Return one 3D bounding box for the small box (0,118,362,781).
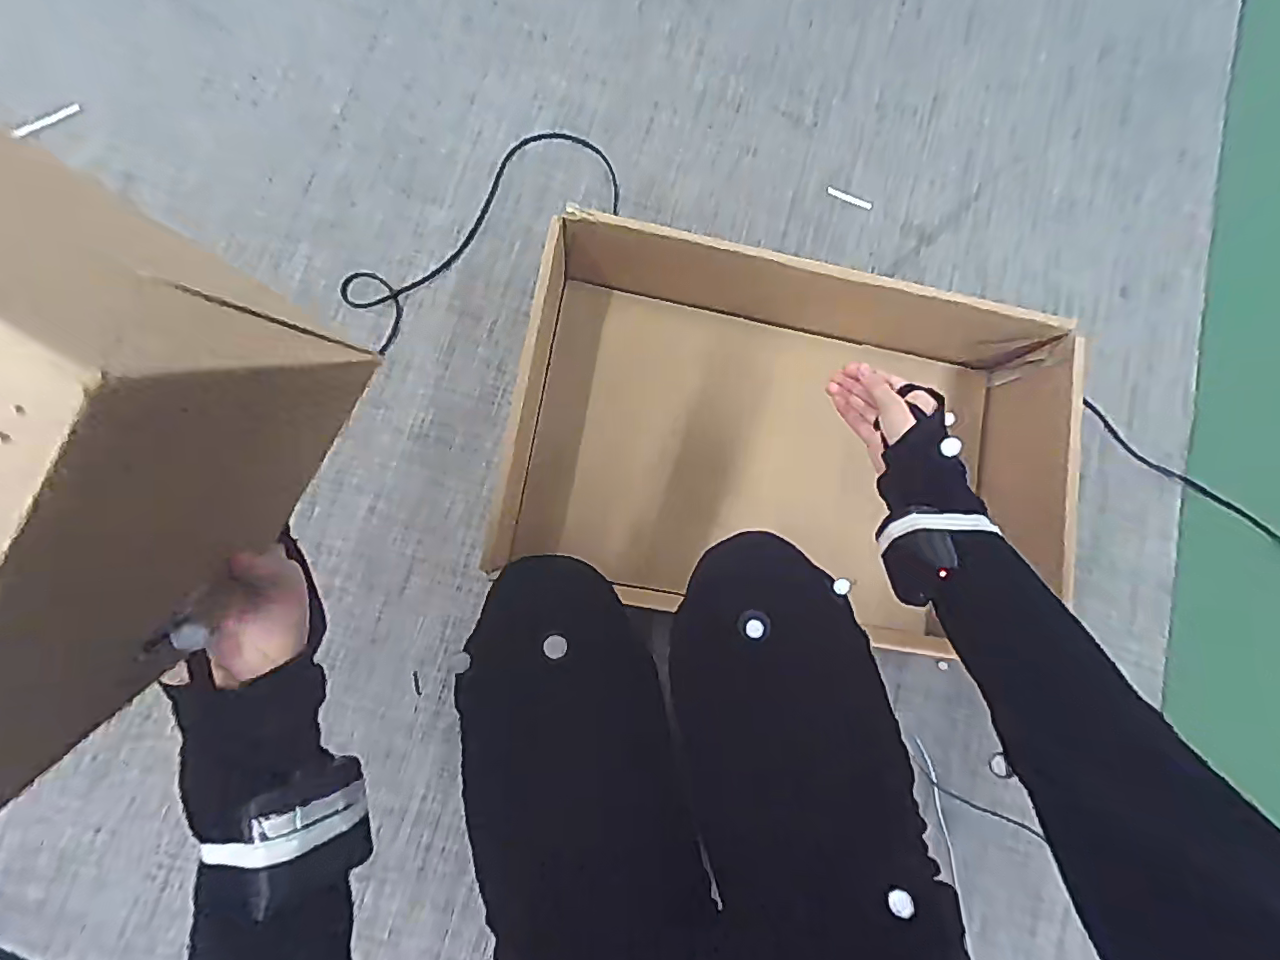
[{"bbox_3d":[-0.223,-0.024,0.170,0.168,0.179,0.176,32,96,-15],"label":"small box"}]
